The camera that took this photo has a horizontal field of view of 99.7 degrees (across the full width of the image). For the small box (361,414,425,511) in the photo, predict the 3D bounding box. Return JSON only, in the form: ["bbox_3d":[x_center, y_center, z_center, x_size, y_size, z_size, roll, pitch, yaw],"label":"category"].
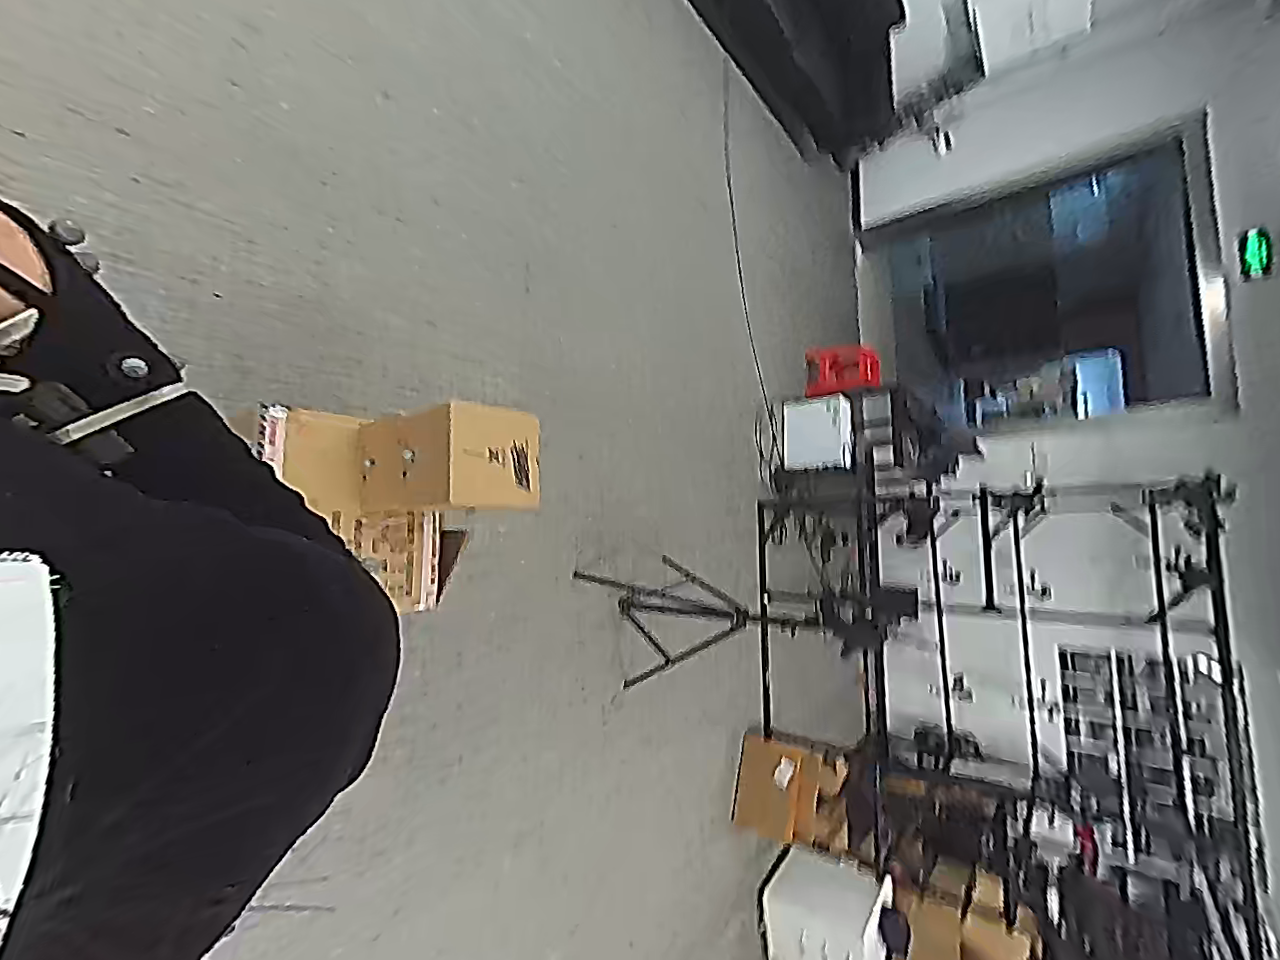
[{"bbox_3d":[-0.417,-0.026,1.051,0.179,0.176,0.168,1,83,-49],"label":"small box"}]

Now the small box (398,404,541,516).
[{"bbox_3d":[-0.294,-0.025,0.941,0.179,0.176,0.168,7,80,-48],"label":"small box"}]
